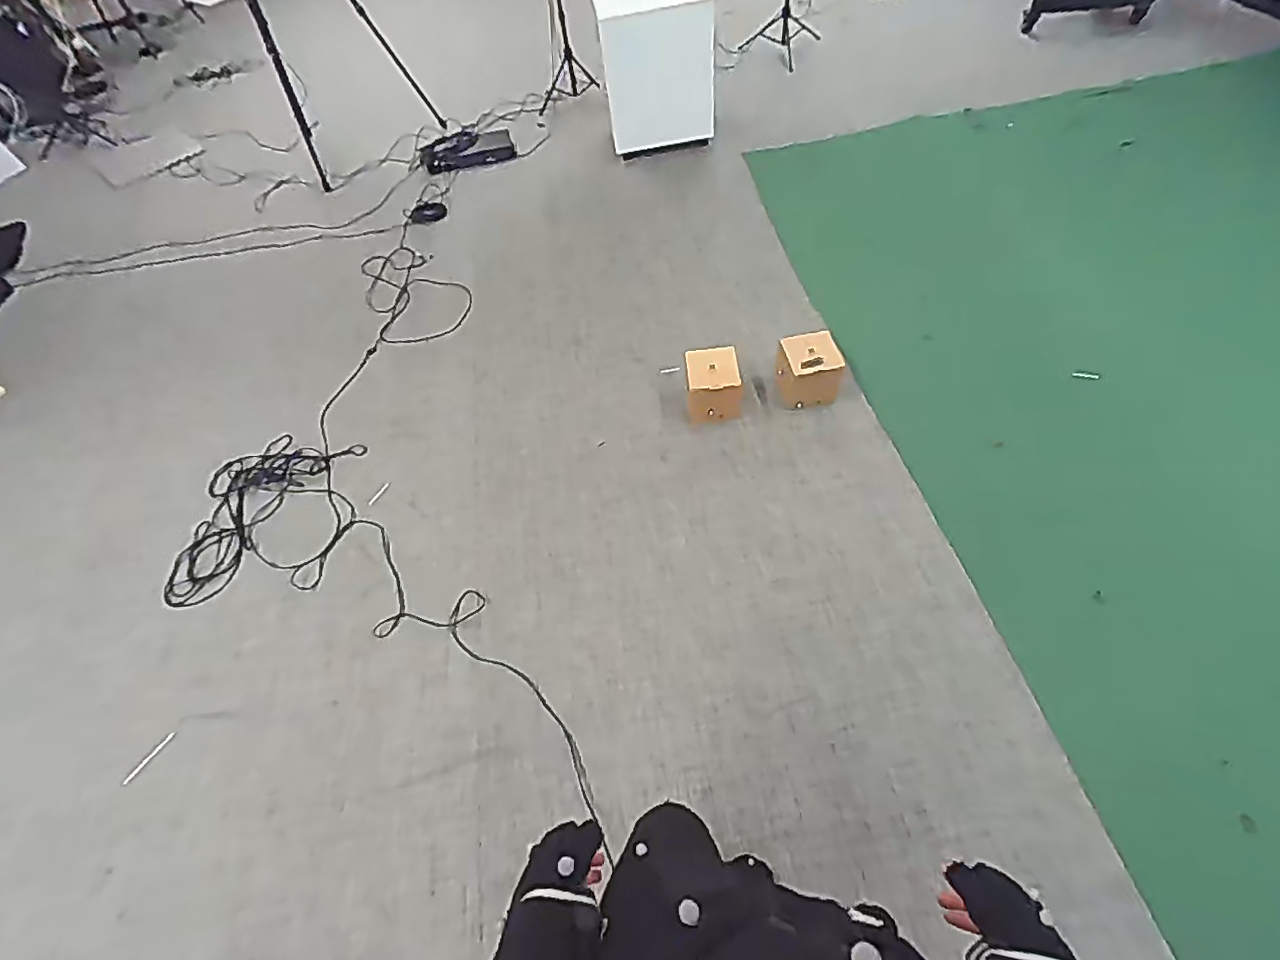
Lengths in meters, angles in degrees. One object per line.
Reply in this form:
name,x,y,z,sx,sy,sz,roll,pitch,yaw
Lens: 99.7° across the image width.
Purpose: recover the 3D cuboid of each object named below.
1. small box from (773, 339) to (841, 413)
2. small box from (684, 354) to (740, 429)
small box,0.553,-0.342,1.811,0.168,0.176,0.179,-10,55,0
small box,0.237,-0.296,1.817,0.168,0.176,0.179,-6,56,2
